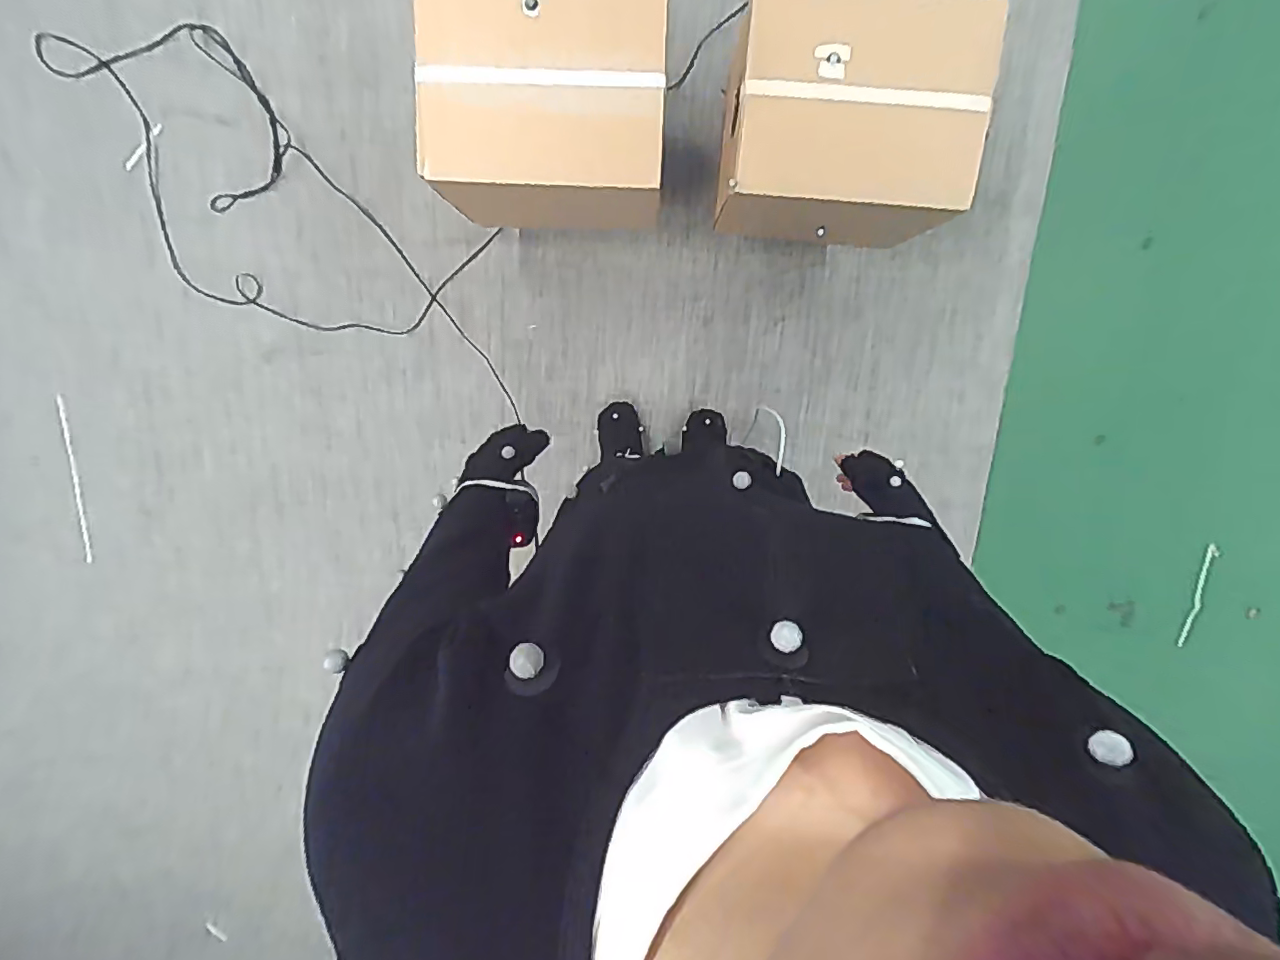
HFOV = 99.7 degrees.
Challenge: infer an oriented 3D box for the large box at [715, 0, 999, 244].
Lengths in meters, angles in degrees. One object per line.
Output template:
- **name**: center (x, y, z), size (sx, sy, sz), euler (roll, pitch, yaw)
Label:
- **large box**: center (0.373, -0.657, 1.042), size (0.408, 0.320, 0.320), euler (5, 102, 0)
